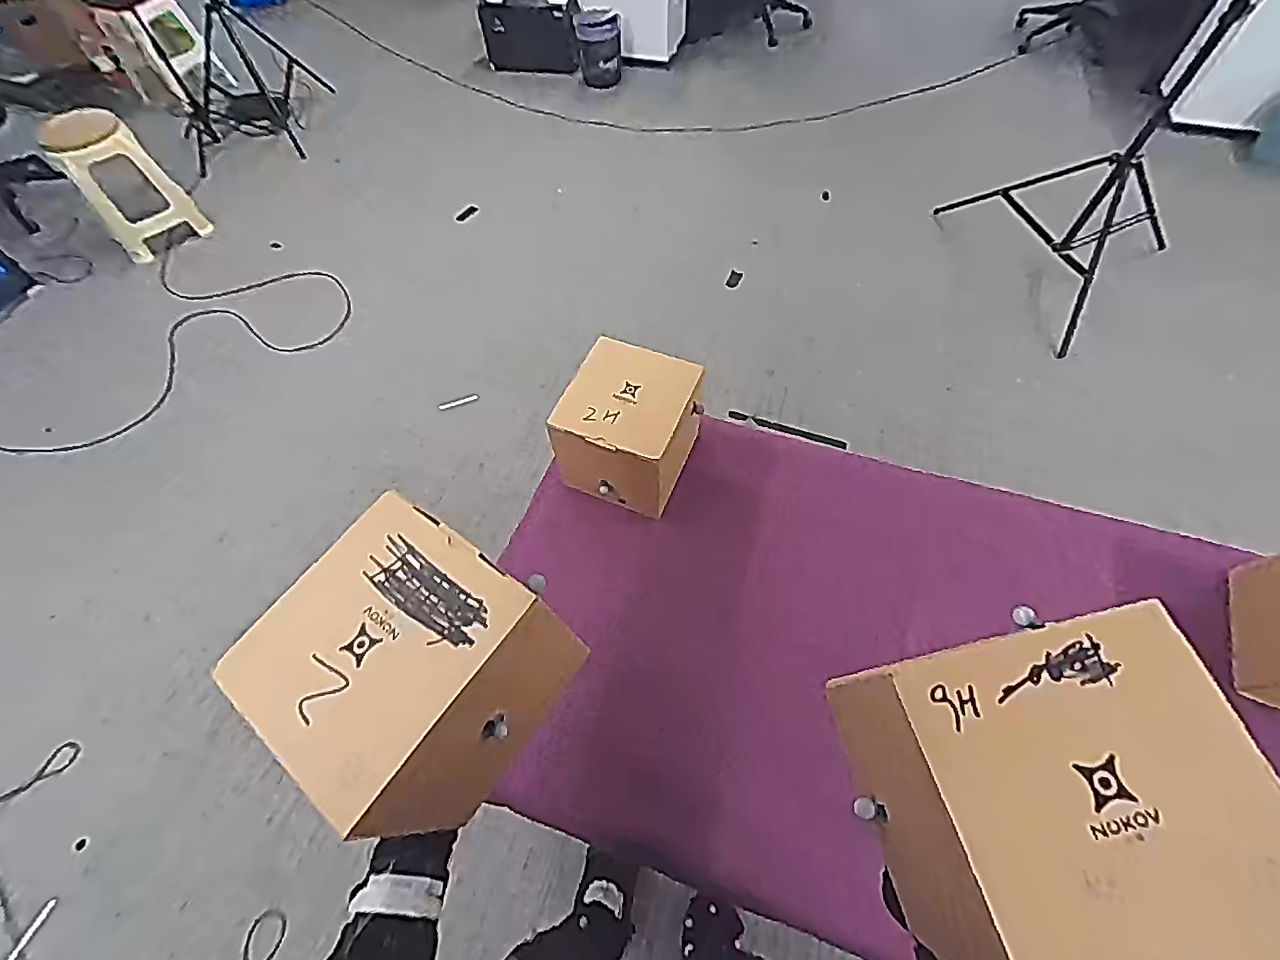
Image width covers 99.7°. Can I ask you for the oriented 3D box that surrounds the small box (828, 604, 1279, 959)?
[{"bbox_3d":[0.247,0.197,0.357,0.168,0.176,0.179,-14,67,-2],"label":"small box"}]

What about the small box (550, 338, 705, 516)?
[{"bbox_3d":[-0.014,-0.075,0.813,0.168,0.176,0.179,19,63,13],"label":"small box"}]

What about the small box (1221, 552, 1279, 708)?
[{"bbox_3d":[0.846,0.182,0.634,0.168,0.176,0.179,20,65,13],"label":"small box"}]
